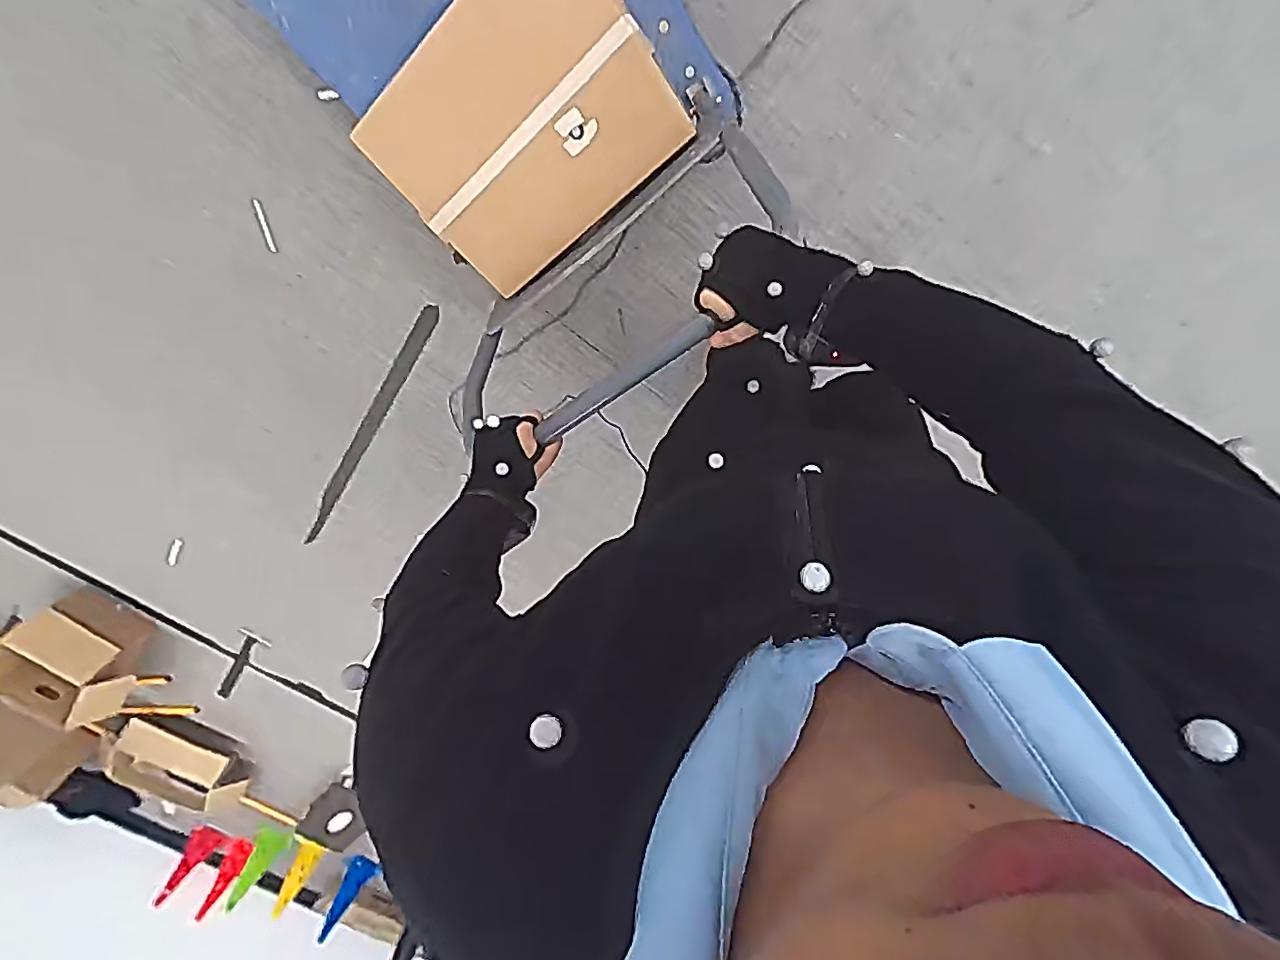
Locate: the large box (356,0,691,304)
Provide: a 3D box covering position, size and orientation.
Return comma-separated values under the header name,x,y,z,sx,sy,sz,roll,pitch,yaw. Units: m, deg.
name,x,y,z,sx,sy,sz,roll,pitch,yaw
large box,-0.172,-0.582,0.895,0.408,0.320,0.320,-33,123,24
